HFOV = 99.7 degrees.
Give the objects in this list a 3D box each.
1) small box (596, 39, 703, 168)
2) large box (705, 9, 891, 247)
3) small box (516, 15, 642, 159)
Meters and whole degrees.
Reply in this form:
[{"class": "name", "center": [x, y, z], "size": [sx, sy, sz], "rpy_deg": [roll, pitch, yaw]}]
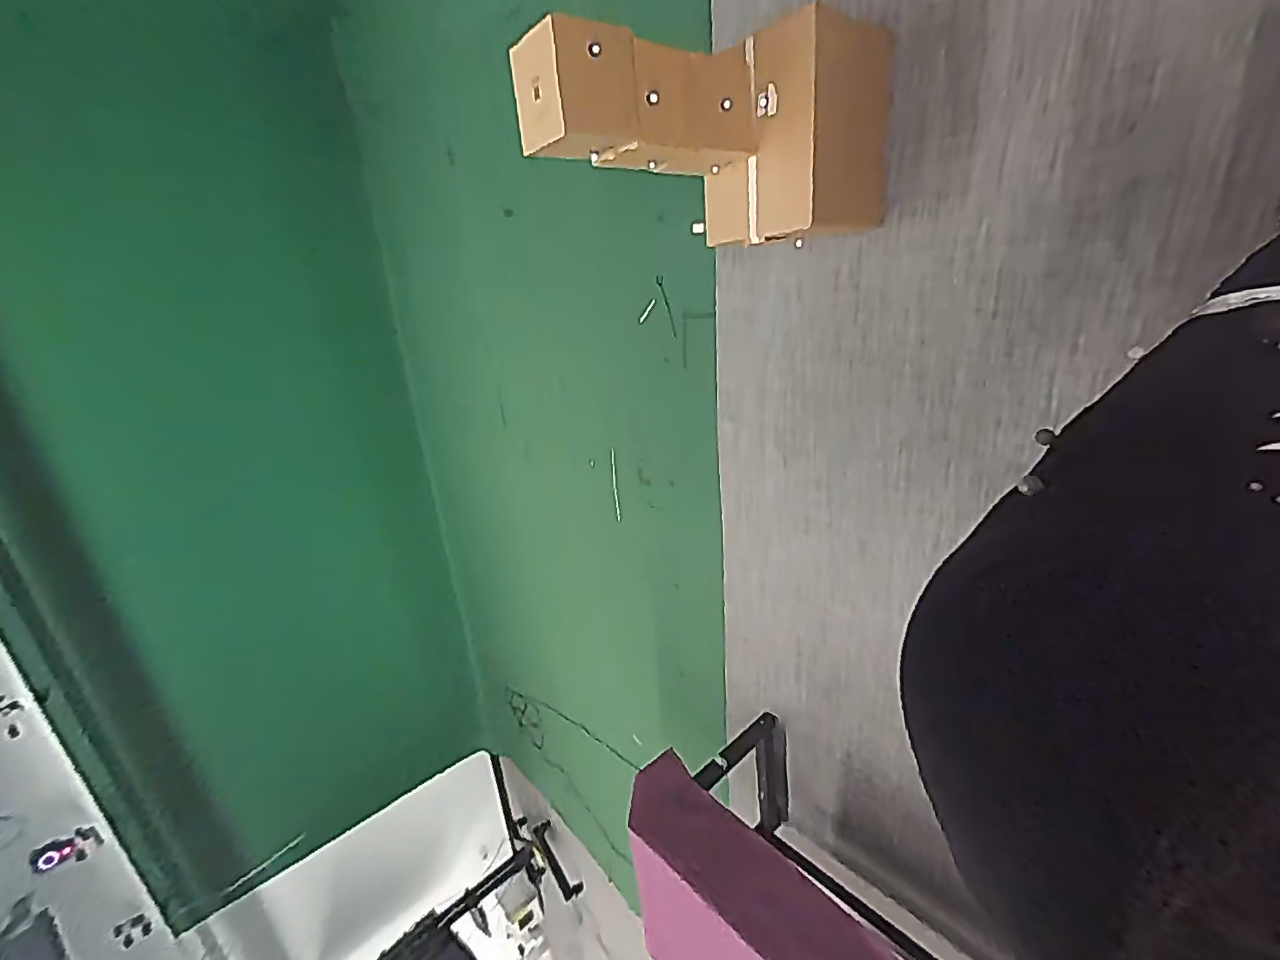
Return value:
[{"class": "small box", "center": [0.014, -0.764, 1.119], "size": [0.168, 0.176, 0.179], "rpy_deg": [18, 121, 50]}, {"class": "large box", "center": [0.382, -0.805, 1.317], "size": [0.320, 0.320, 0.408], "rpy_deg": [17, 118, 47]}, {"class": "small box", "center": [-0.111, -0.726, 1.021], "size": [0.168, 0.176, 0.179], "rpy_deg": [21, 123, 49]}]
